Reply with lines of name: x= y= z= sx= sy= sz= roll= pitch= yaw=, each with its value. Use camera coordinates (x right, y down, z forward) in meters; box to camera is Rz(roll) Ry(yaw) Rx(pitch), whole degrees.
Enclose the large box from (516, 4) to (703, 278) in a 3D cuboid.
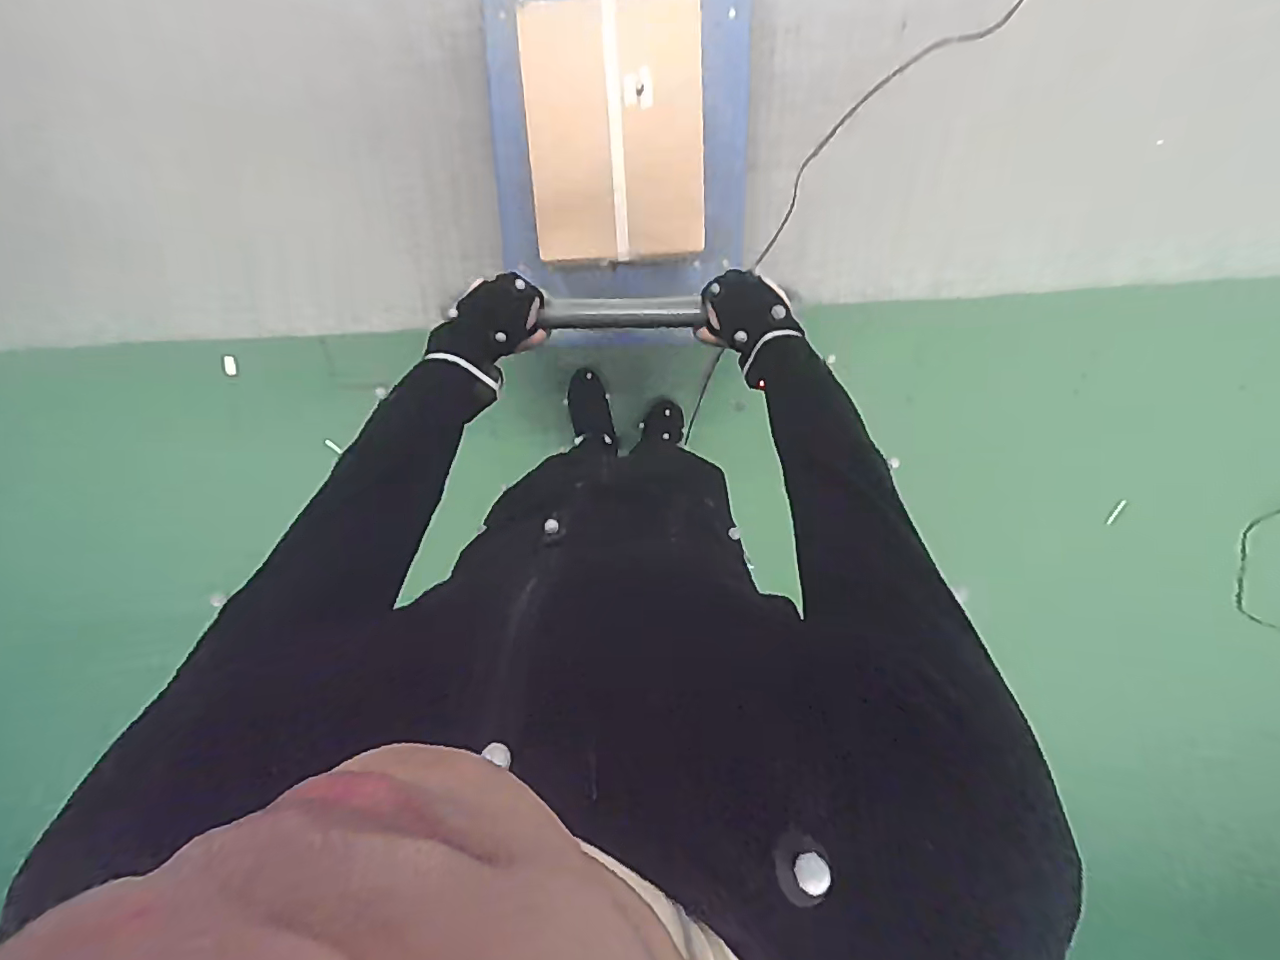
large box: x=-0.046 y=-0.650 z=1.117 sx=0.320 sy=0.320 sz=0.408 roll=-3 pitch=107 yaw=0
